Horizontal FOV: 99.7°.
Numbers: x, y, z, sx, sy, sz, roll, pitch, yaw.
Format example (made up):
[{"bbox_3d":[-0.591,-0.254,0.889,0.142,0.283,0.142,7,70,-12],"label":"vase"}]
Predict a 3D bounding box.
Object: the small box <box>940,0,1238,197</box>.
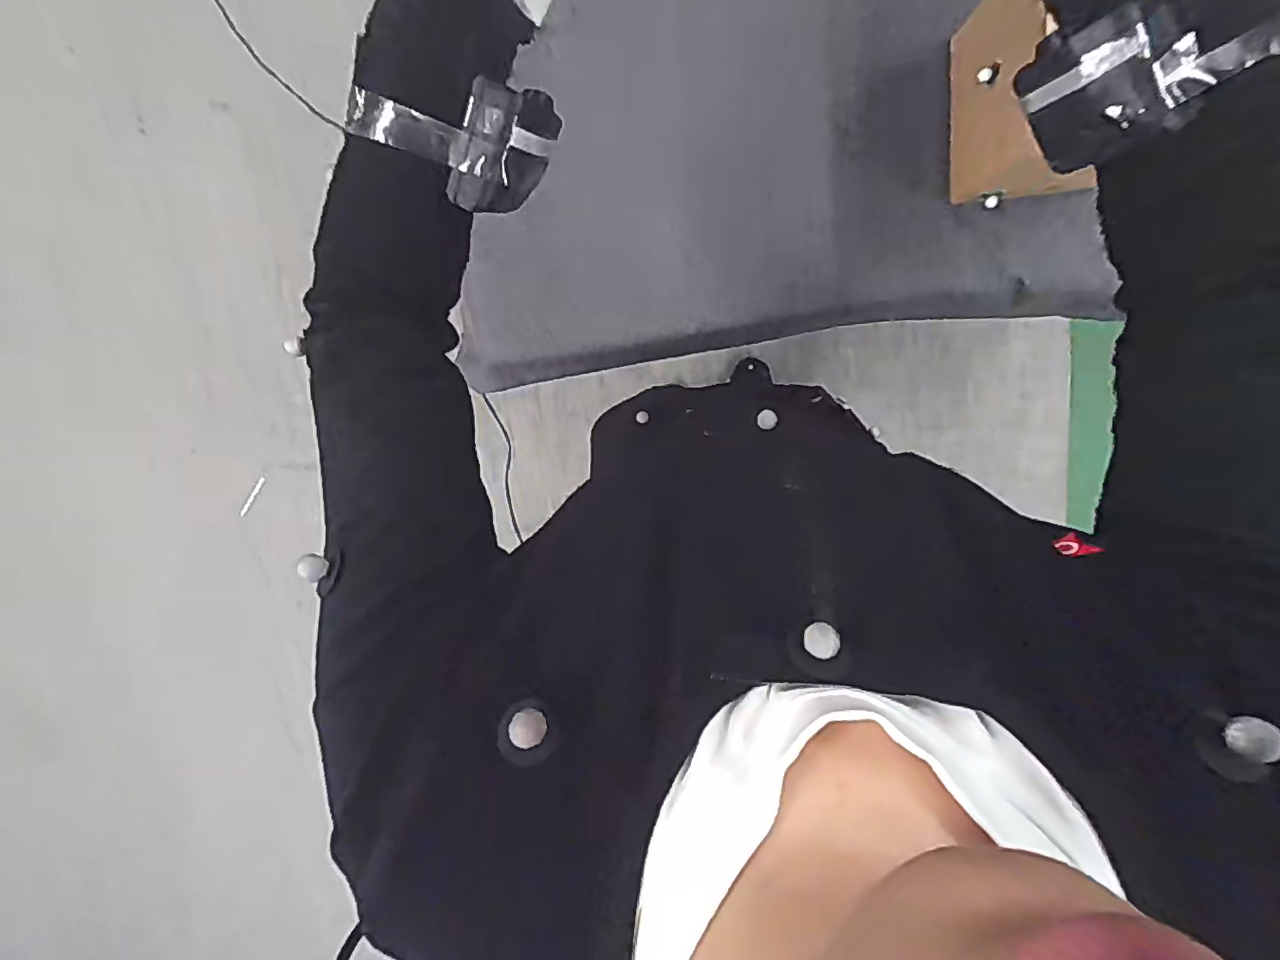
[{"bbox_3d":[0.421,-0.400,0.537,0.168,0.176,0.179,-5,100,5],"label":"small box"}]
